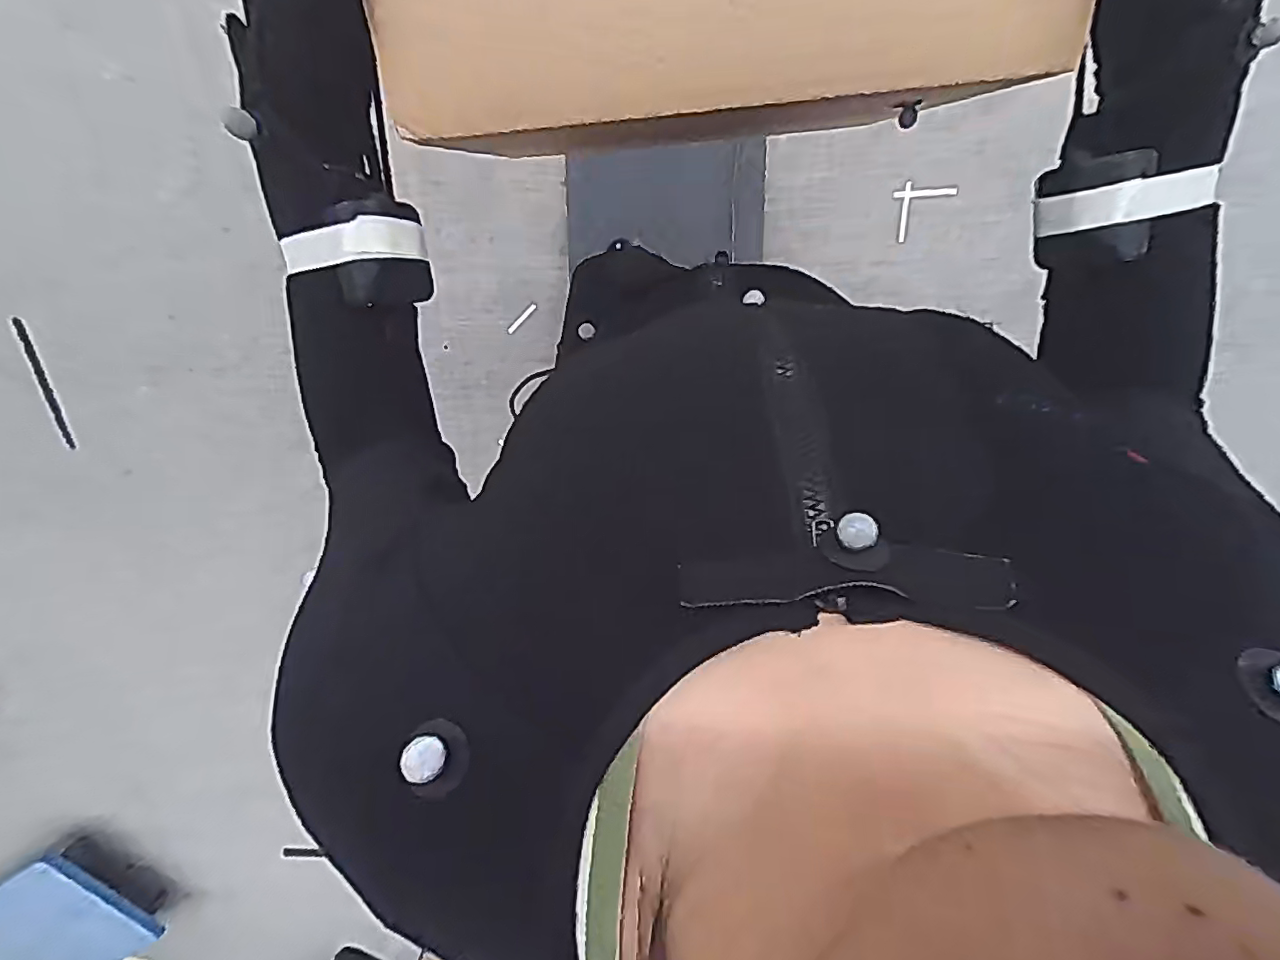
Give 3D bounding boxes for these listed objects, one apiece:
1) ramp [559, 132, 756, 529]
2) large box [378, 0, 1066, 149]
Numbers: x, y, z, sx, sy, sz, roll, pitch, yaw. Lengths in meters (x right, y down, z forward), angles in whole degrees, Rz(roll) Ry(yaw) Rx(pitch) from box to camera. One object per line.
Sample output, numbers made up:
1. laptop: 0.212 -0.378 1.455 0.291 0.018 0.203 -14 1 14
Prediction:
1. ramp: 0.046 -0.356 1.415 0.509 0.206 0.991 -1 111 3
2. large box: 0.038 -0.439 0.387 0.408 0.320 0.320 -5 119 2
